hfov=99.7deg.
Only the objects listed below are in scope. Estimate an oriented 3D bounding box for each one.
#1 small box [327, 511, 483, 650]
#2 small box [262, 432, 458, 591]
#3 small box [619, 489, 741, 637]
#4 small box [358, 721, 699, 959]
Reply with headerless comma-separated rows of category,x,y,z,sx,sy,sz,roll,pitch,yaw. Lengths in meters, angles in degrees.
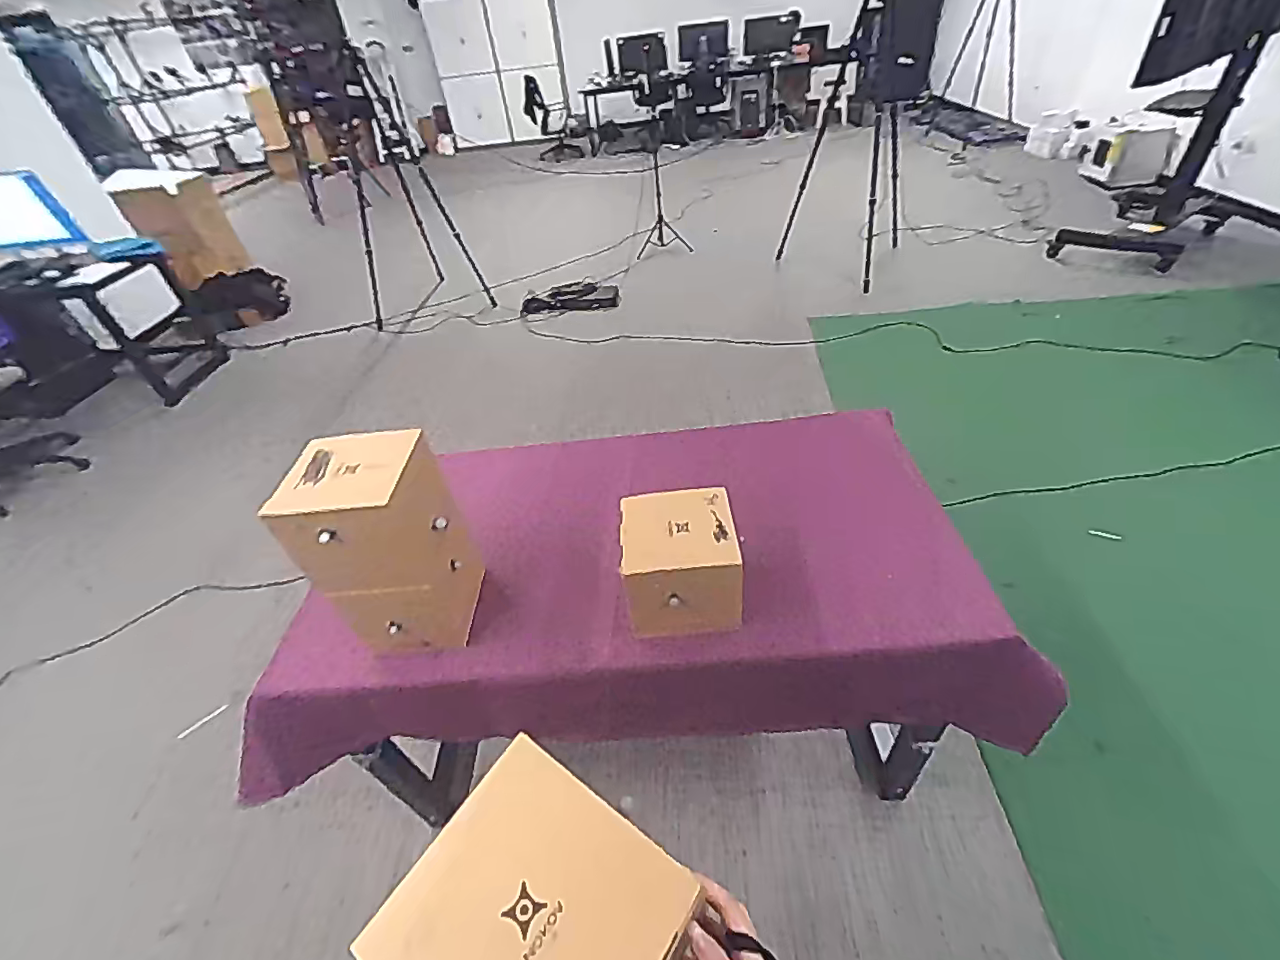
small box,-0.379,0.173,0.913,0.168,0.176,0.179,-5,41,3
small box,-0.398,0.050,0.805,0.179,0.176,0.168,-5,41,3
small box,0.065,0.138,0.879,0.179,0.176,0.168,-6,41,3
small box,-0.070,0.334,0.424,0.179,0.176,0.168,27,56,26
